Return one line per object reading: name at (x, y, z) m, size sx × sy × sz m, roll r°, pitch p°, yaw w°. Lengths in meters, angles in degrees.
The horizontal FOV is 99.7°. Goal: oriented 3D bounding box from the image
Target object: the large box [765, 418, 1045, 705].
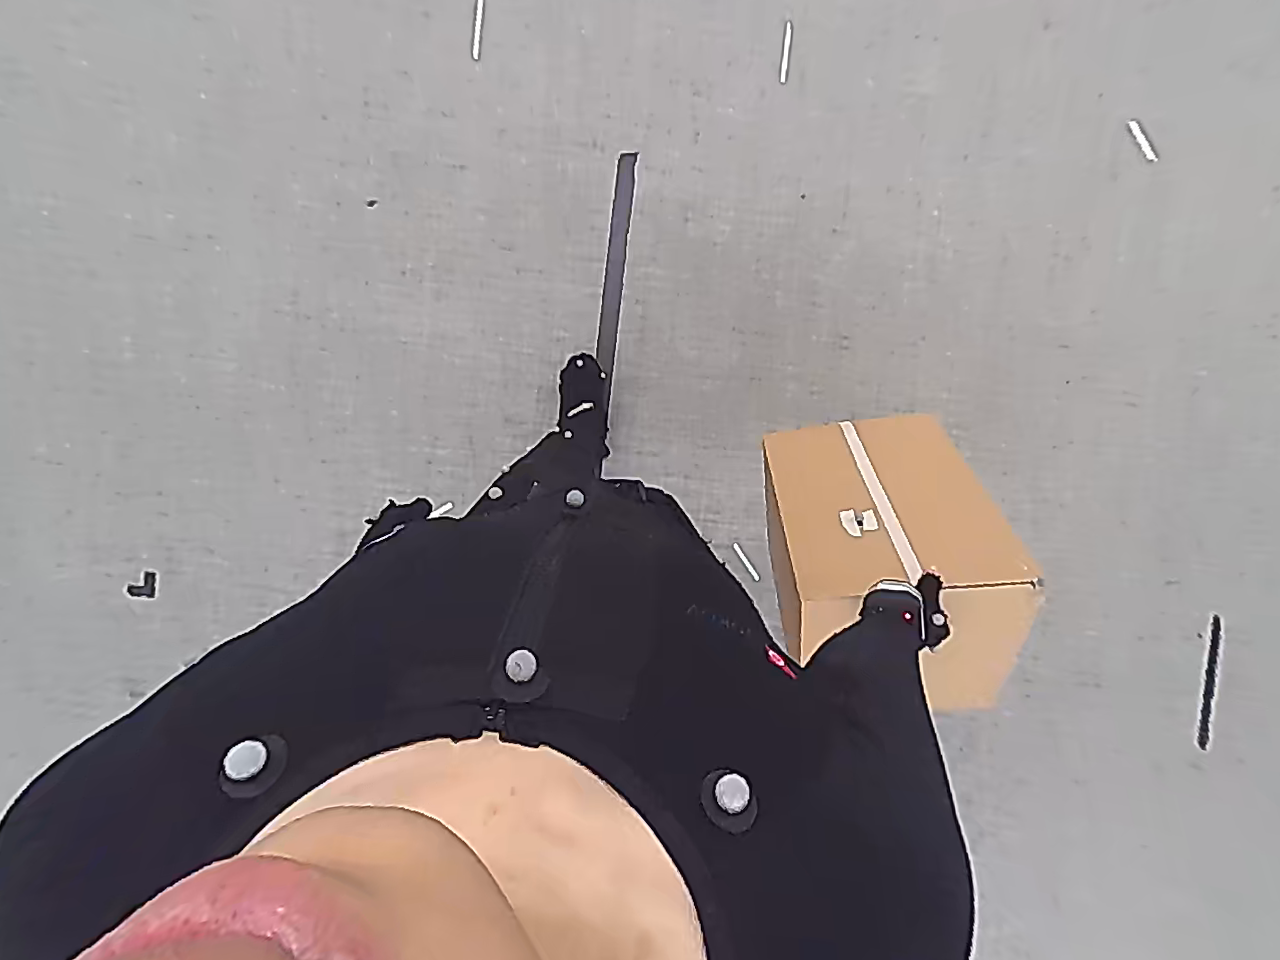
large box at (0.413, 0.138, 0.974) m, size 0.320 × 0.408 × 0.320 m, roll -7°, pitch 129°, yaw 8°
